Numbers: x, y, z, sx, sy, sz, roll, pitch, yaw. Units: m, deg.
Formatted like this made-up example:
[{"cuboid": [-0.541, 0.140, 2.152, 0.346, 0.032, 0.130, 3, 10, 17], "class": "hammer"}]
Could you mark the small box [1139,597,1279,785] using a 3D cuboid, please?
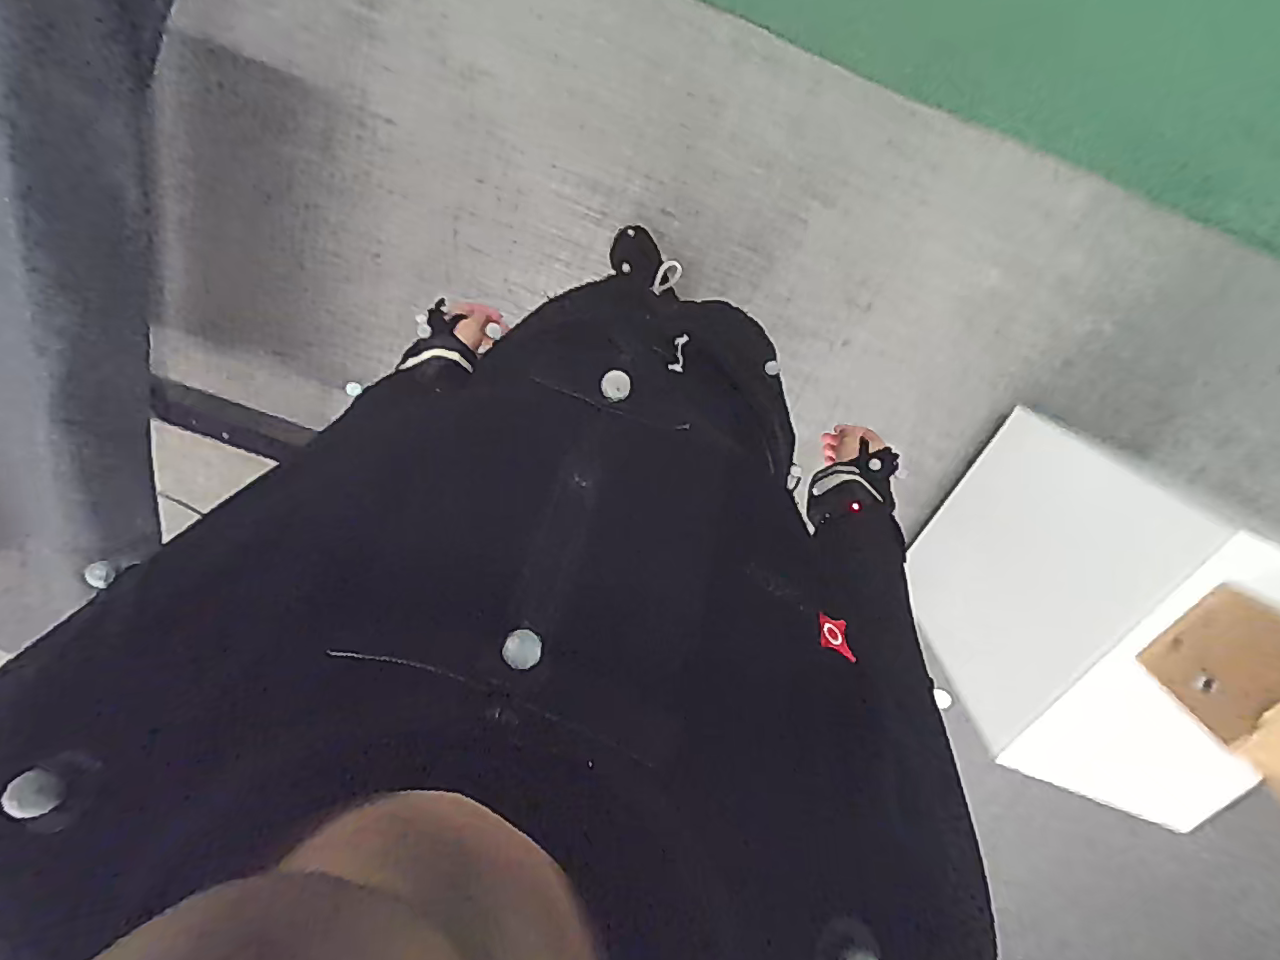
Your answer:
[{"cuboid": [0.845, 0.283, 0.720, 0.179, 0.176, 0.168, 22, 117, -7], "class": "small box"}]
